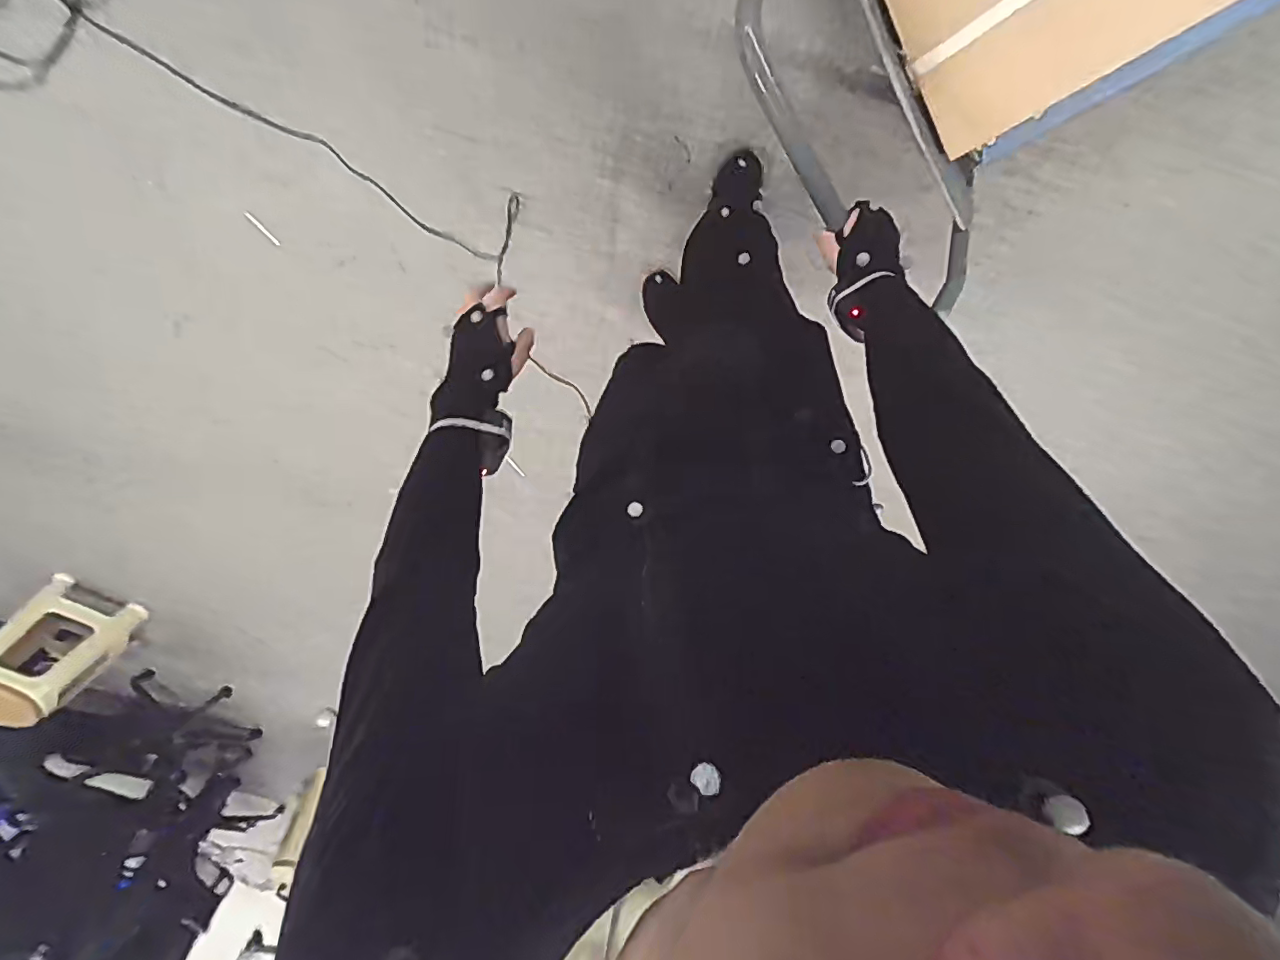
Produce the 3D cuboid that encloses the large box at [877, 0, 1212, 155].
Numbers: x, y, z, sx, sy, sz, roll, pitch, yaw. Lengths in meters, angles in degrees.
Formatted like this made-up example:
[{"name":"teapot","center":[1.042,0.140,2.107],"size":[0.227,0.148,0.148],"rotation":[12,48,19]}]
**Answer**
[{"name":"large box","center":[0.606,-0.792,0.804],"size":[0.408,0.320,0.320],"rotation":[-18,124,41]}]
